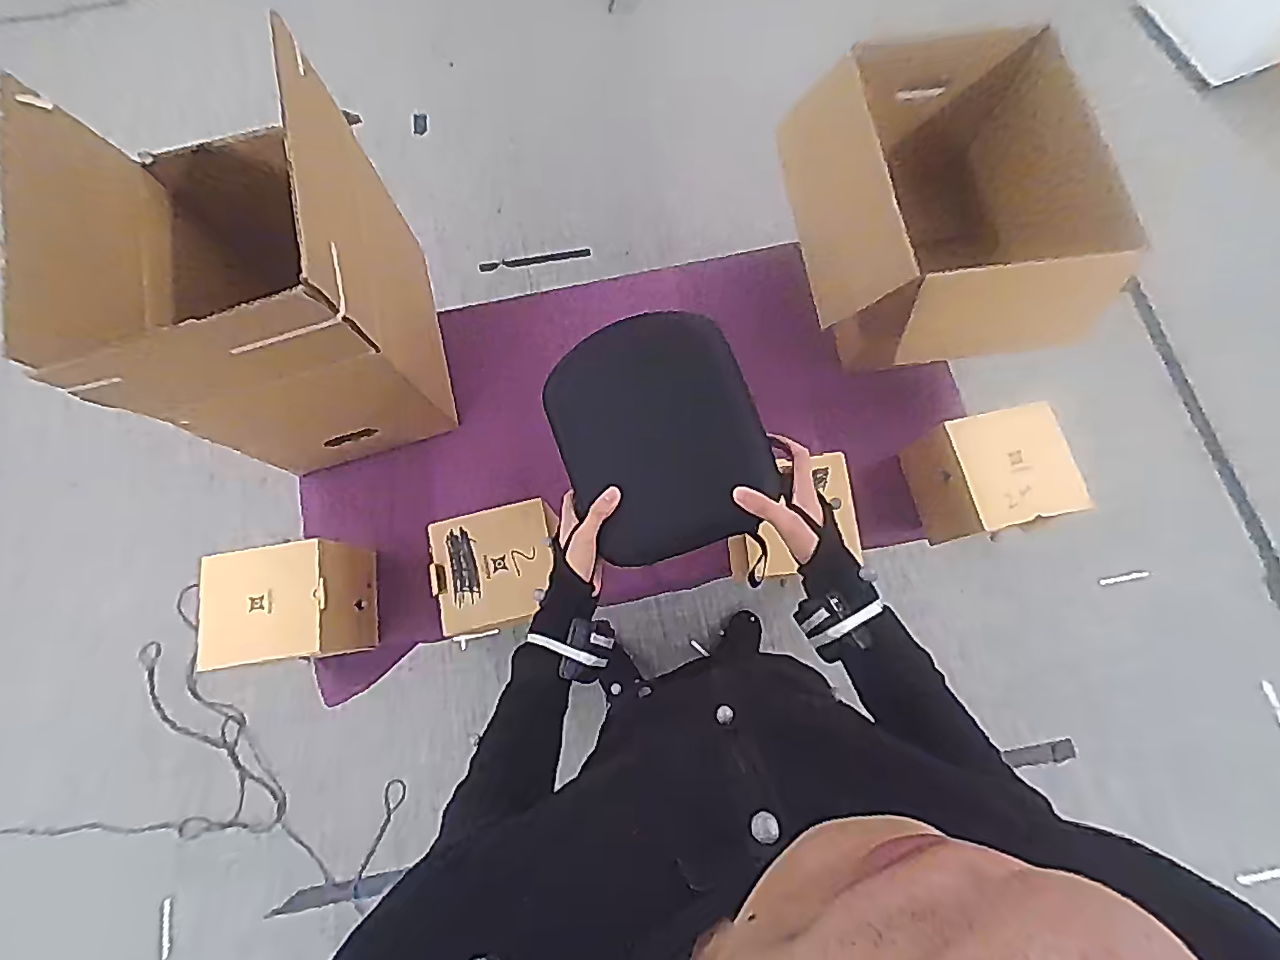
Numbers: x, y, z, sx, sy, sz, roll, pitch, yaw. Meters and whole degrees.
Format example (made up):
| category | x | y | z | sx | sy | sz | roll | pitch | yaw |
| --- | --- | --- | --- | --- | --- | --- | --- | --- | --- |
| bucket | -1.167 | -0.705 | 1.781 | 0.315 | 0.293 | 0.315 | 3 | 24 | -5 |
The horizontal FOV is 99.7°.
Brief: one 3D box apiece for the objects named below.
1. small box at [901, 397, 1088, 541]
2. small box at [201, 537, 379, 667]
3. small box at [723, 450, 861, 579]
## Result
| category | x | y | z | sx | sy | sz | roll | pitch | yaw |
| --- | --- | --- | --- | --- | --- | --- | --- | --- | --- |
| small box | 0.557 | -0.011 | 0.881 | 0.168 | 0.176 | 0.179 | -12 | 76 | -1 |
| small box | -0.541 | 0.195 | 0.856 | 0.179 | 0.176 | 0.168 | -9 | 76 | -2 |
| small box | 0.232 | 0.062 | 0.873 | 0.168 | 0.176 | 0.179 | -5 | 77 | 0 |
